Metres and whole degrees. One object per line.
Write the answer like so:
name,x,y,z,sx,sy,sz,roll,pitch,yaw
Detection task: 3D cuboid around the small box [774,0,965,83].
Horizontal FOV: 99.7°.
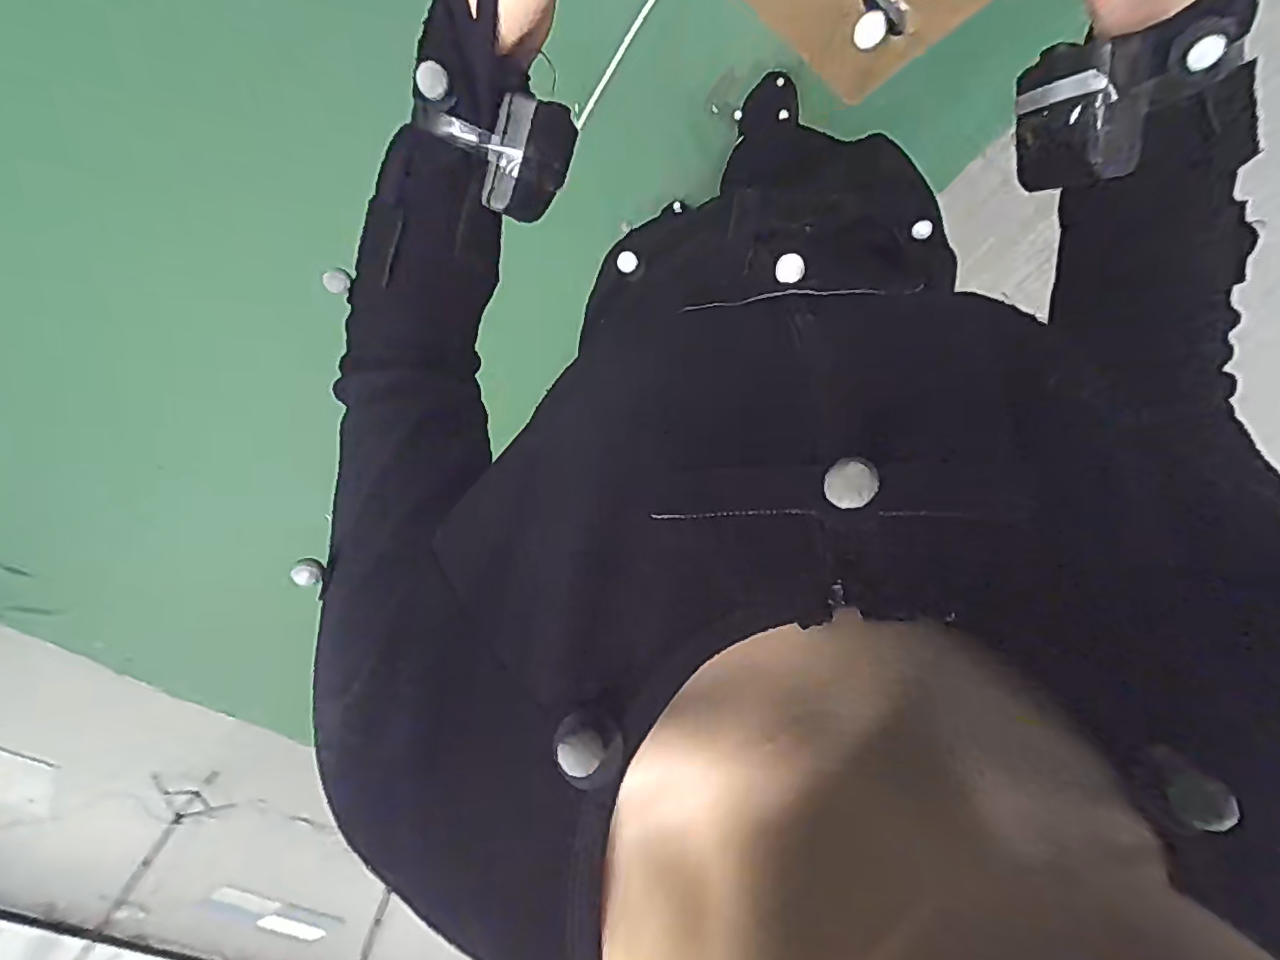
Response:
small box,0.105,-0.298,0.185,0.176,0.168,0.179,36,111,-12
